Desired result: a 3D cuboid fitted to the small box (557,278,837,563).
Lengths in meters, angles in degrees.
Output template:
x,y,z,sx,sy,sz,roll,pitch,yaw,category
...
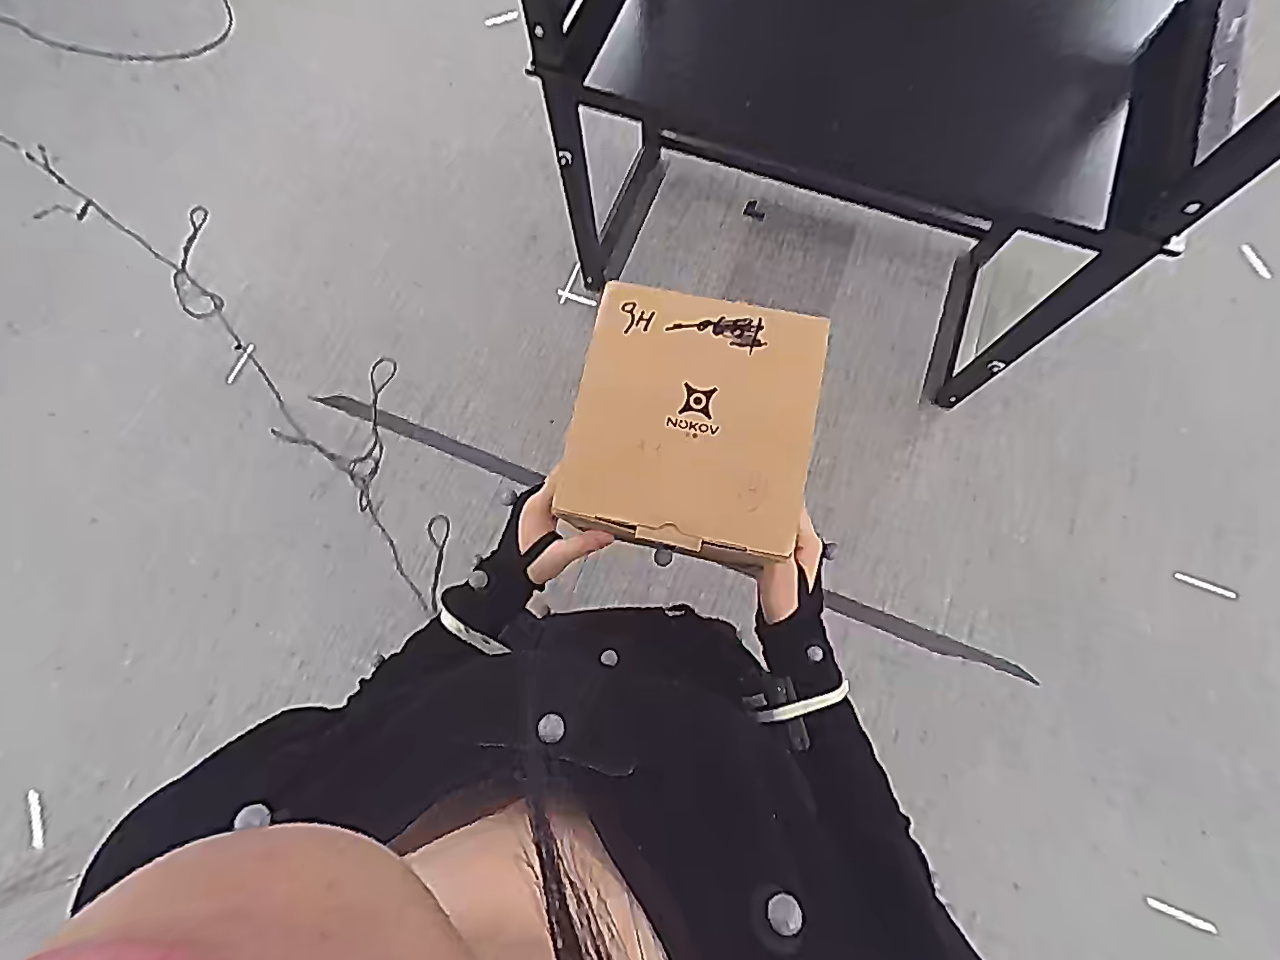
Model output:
x,y,z,sx,sy,sz,roll,pitch,yaw,category
0.043,-0.032,0.447,0.168,0.176,0.179,12,80,3,small box
